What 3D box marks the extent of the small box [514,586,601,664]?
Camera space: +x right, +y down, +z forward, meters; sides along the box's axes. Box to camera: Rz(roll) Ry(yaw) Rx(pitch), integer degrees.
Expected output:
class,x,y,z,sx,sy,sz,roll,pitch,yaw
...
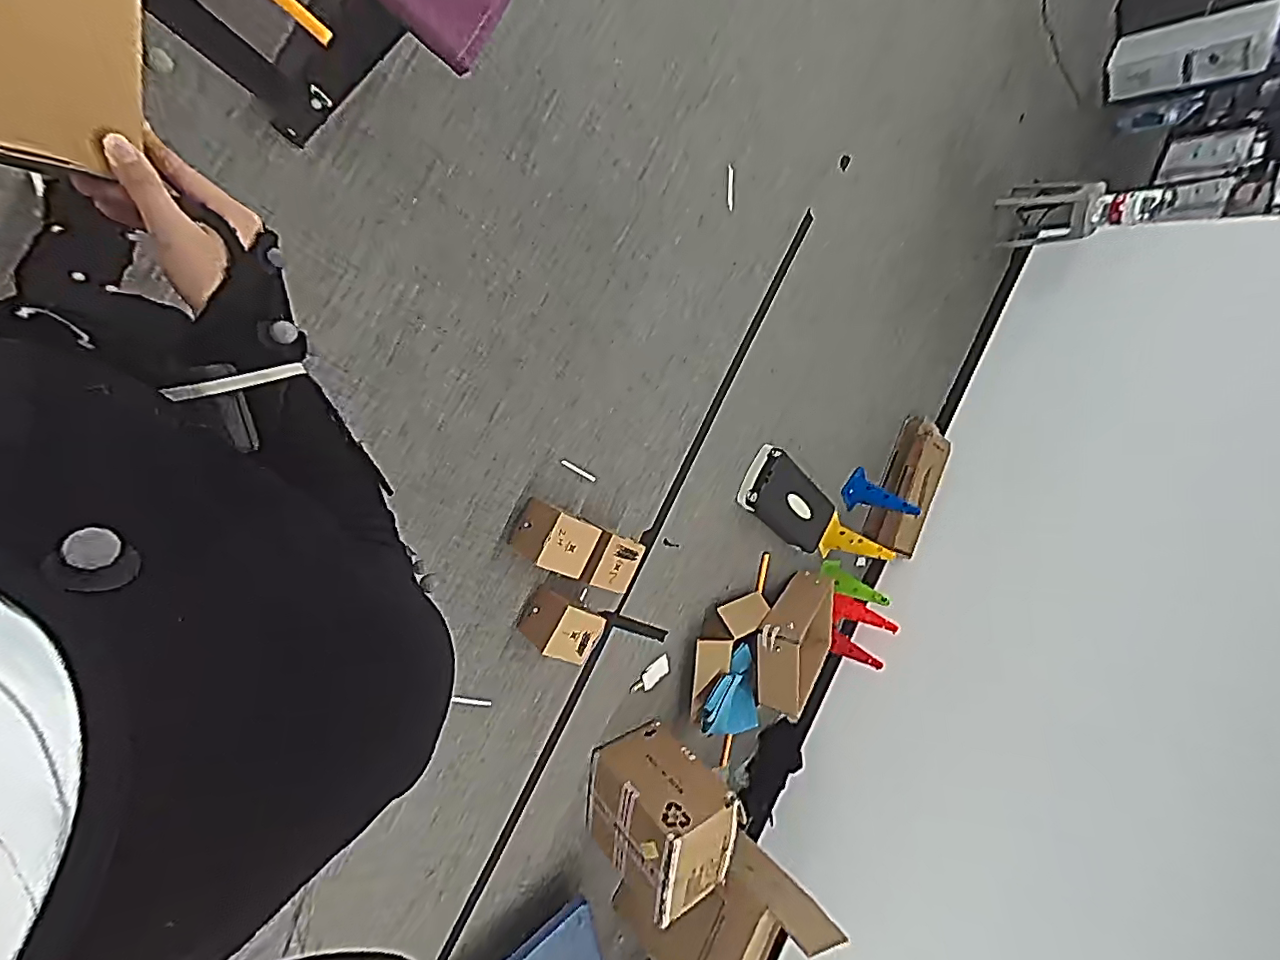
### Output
class,x,y,z,sx,sy,sz,roll,pitch,yaw
small box,-0.267,0.461,1.735,0.179,0.176,0.168,35,82,-42

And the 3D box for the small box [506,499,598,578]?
class,x,y,z,sx,sy,sz,roll,pitch,yaw
small box,-0.267,0.172,1.625,0.179,0.176,0.168,30,84,-44

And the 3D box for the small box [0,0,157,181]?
class,x,y,z,sx,sy,sz,roll,pitch,yaw
small box,-0.386,-0.286,0.295,0.168,0.176,0.179,-3,113,-47
